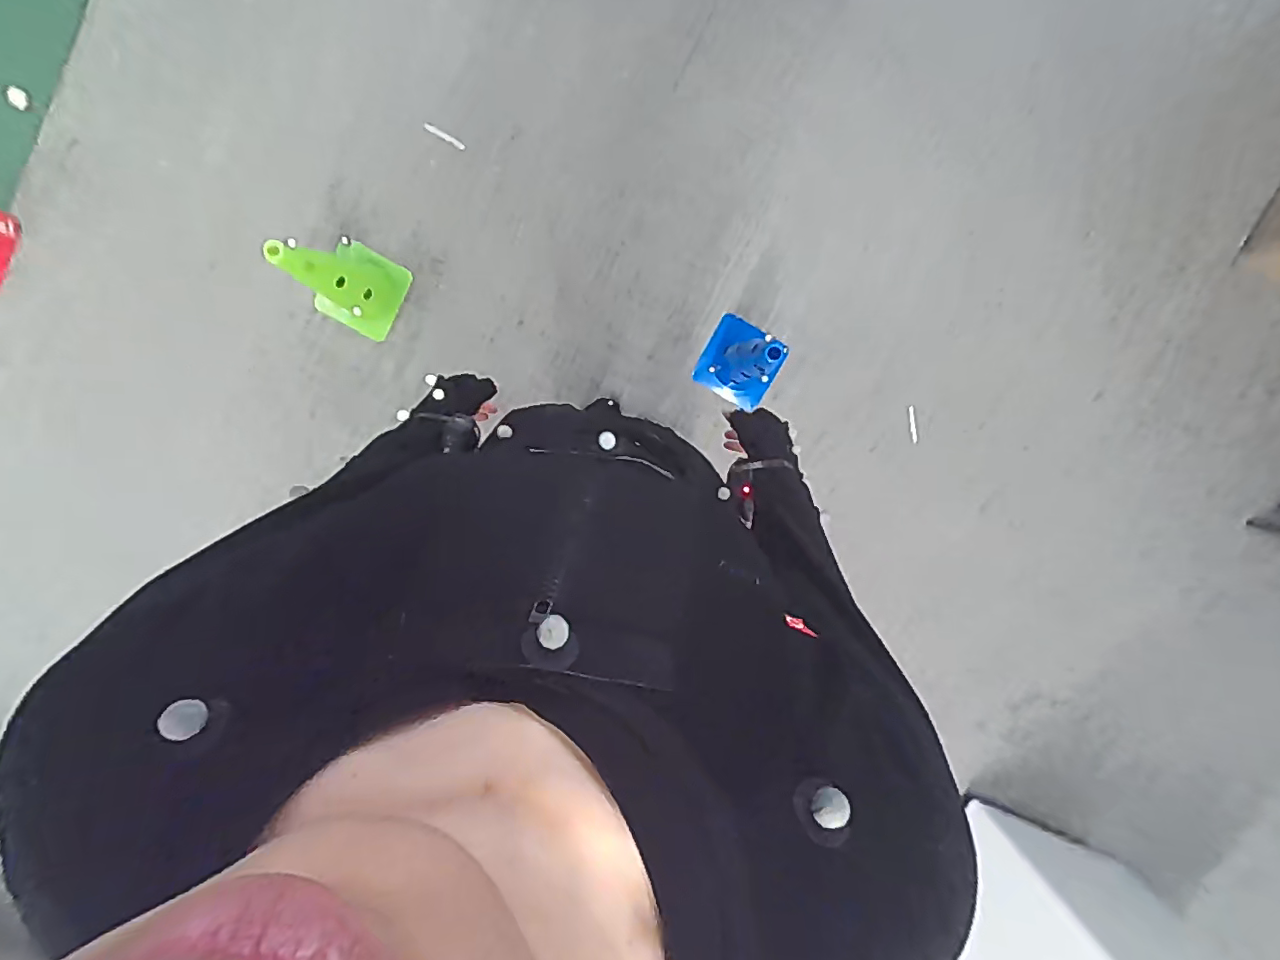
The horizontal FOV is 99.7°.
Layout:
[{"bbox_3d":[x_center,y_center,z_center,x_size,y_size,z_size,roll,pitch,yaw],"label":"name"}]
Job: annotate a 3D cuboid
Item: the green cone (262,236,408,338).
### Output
[{"bbox_3d":[-0.709,-0.461,1.204,0.202,0.368,0.200,27,97,-5],"label":"green cone"}]
